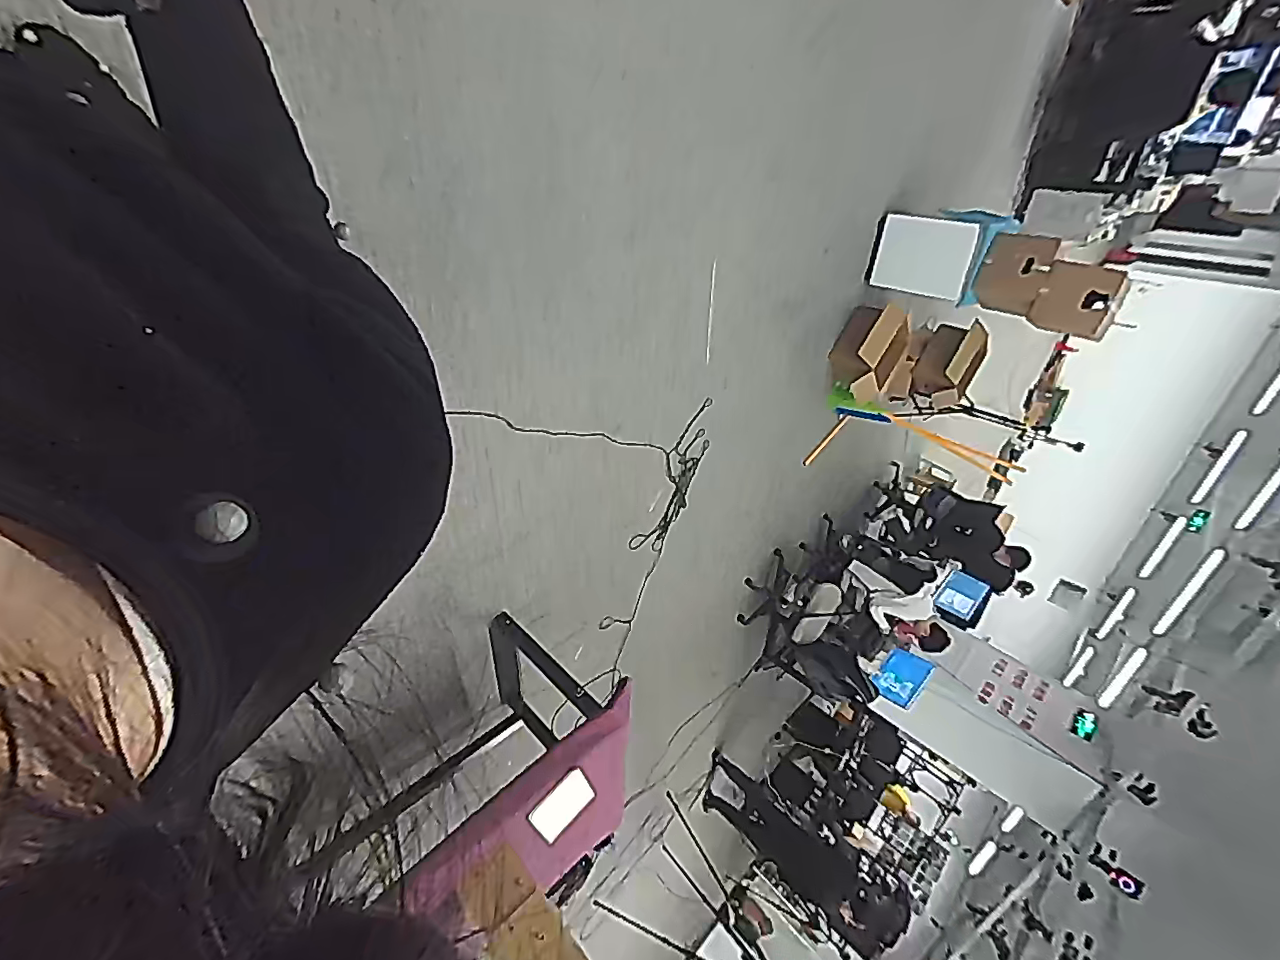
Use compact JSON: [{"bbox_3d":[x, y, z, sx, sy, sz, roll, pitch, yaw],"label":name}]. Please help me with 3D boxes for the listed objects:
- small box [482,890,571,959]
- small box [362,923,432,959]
[{"bbox_3d":[-0.298,1.233,1.419,0.168,0.176,0.179,-26,134,-39],"label":"small box"},{"bbox_3d":[-0.605,1.267,1.349,0.168,0.176,0.179,-25,133,-38],"label":"small box"}]
